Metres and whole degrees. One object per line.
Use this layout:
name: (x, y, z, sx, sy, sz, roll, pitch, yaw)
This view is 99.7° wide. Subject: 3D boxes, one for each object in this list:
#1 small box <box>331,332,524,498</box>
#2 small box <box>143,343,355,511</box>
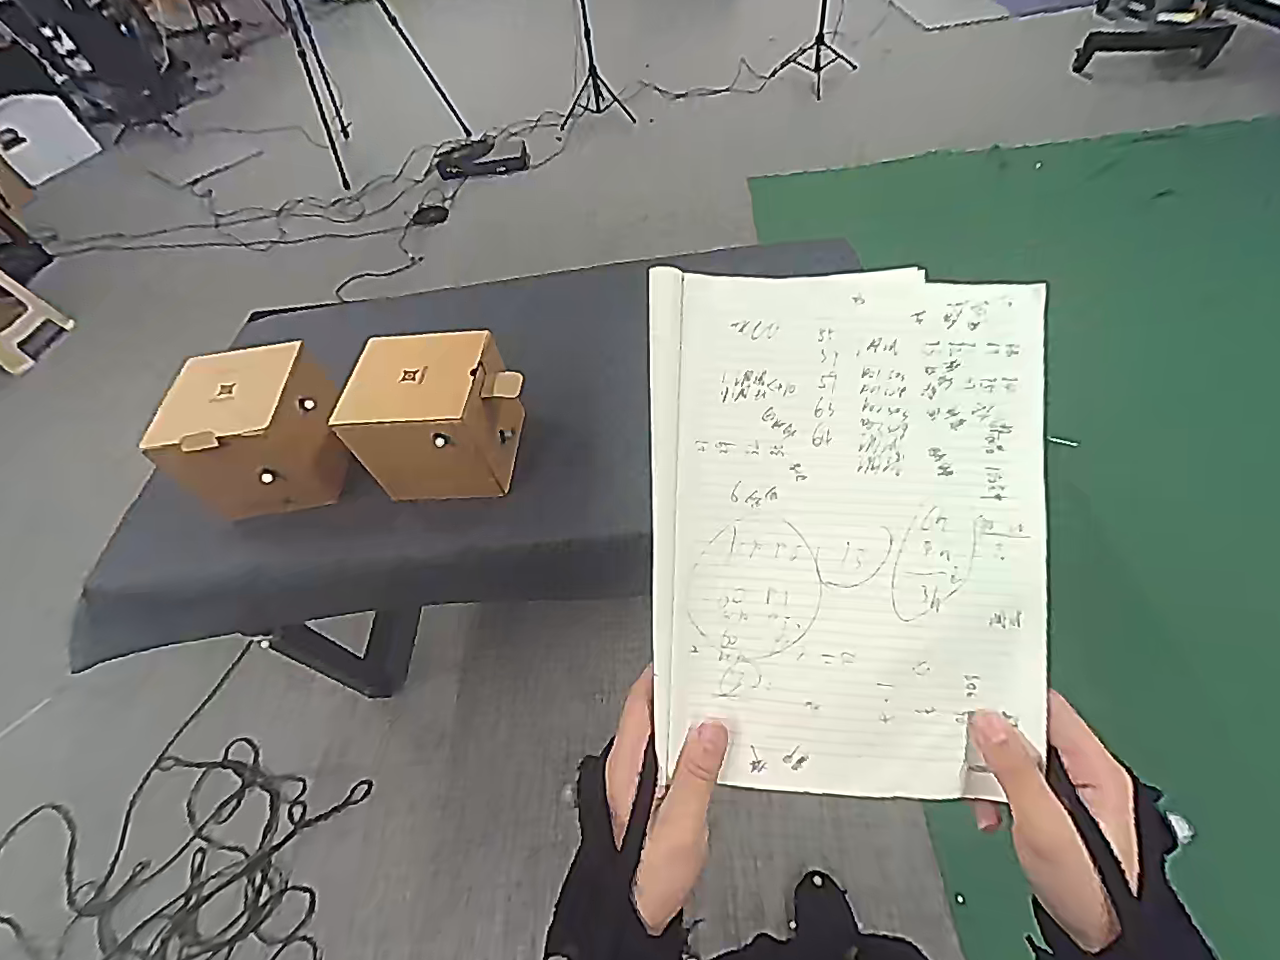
small box: (-0.282, -0.086, 0.762, 0.179, 0.176, 0.168, -2, 53, 6)
small box: (-0.540, -0.068, 0.784, 0.168, 0.176, 0.179, -8, 52, 0)
